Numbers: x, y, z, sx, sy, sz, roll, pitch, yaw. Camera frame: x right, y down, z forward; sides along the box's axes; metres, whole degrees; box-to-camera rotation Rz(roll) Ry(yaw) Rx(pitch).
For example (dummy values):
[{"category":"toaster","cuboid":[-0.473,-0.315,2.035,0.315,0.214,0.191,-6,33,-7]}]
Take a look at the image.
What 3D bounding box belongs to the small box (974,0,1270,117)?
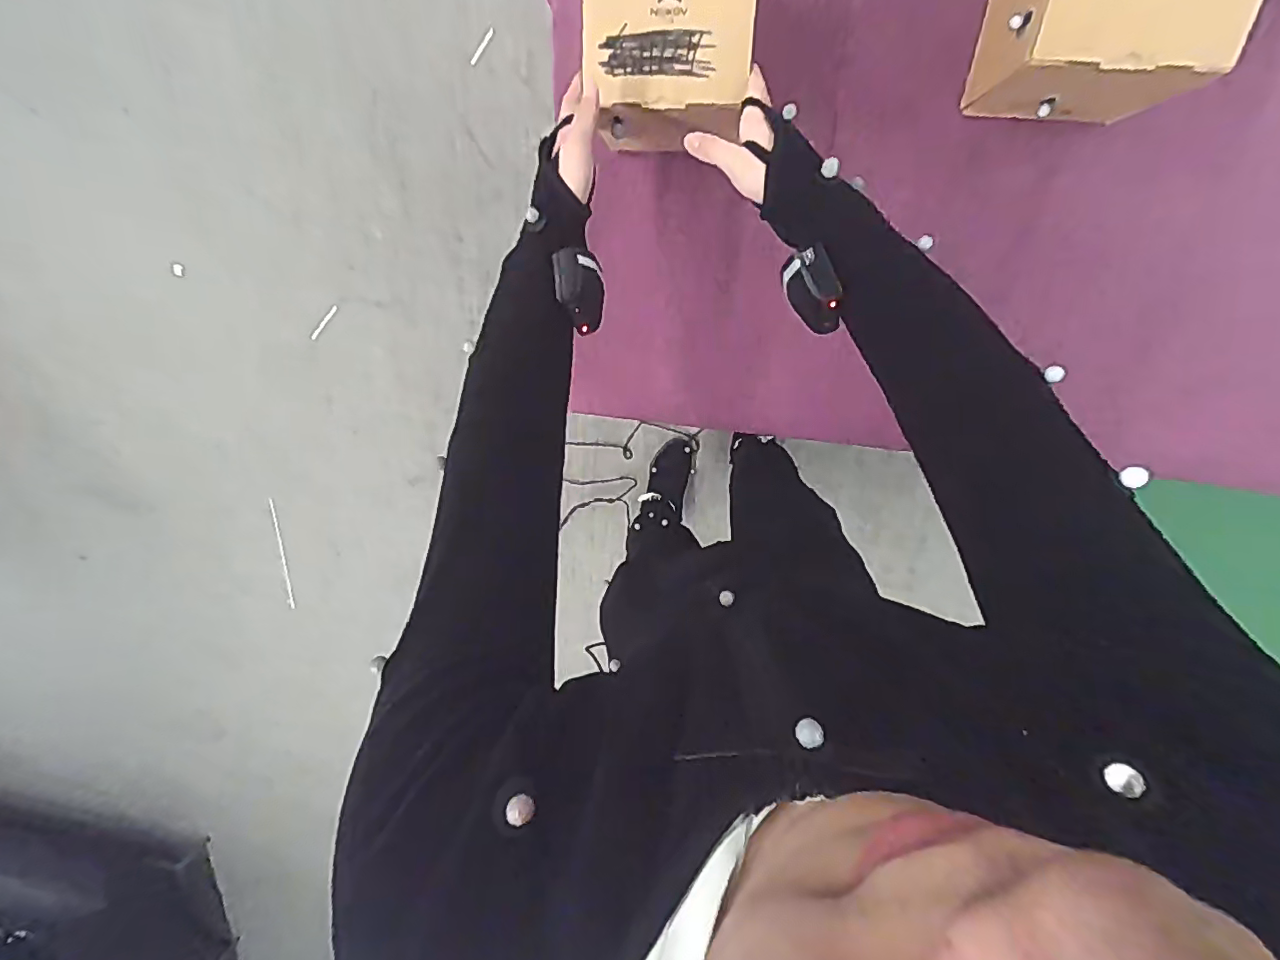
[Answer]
[{"category":"small box","cuboid":[0.451,-0.471,0.510,0.168,0.176,0.179,8,113,7]}]
